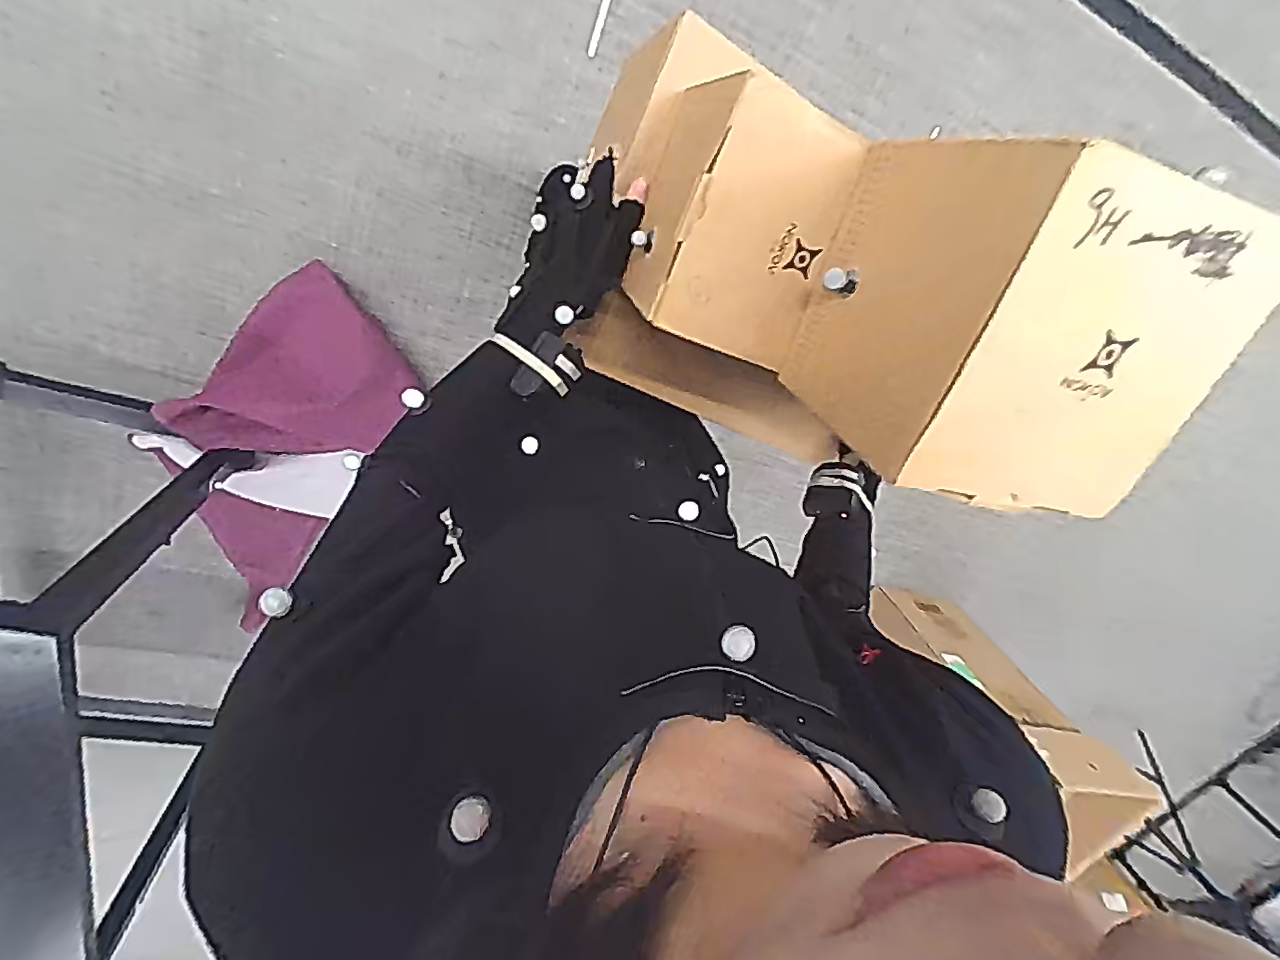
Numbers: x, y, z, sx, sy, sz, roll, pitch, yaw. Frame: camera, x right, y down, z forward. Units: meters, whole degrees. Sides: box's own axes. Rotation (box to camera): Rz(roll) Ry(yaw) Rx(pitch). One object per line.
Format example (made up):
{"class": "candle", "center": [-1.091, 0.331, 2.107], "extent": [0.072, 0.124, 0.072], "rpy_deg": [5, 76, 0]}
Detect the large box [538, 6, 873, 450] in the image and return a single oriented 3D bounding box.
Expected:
{"class": "large box", "center": [0.111, -0.292, 0.702], "extent": [0.408, 0.320, 0.320], "rpy_deg": [19, 116, -23]}

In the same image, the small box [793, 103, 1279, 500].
{"class": "small box", "center": [0.223, -0.113, 0.351], "extent": [0.168, 0.176, 0.179], "rpy_deg": [9, 120, -17]}
